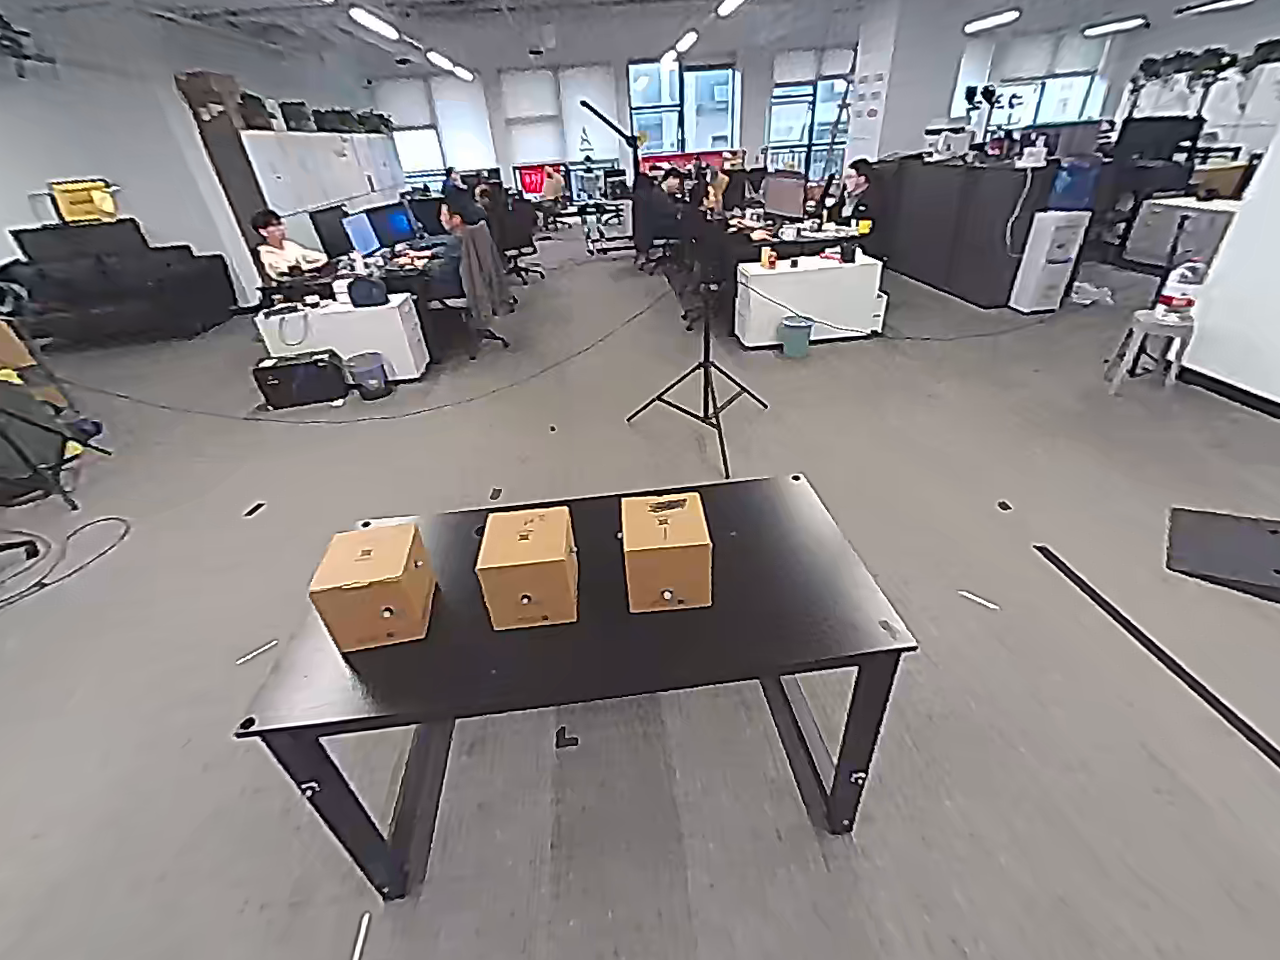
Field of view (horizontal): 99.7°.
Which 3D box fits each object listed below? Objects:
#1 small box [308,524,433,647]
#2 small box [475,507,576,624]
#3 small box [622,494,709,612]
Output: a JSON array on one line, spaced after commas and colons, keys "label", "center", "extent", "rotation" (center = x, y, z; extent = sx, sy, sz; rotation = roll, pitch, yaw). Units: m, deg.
[{"label": "small box", "center": [-0.529, 0.216, 1.091], "extent": [0.168, 0.176, 0.179], "rotation": [-8, 32, -8]}, {"label": "small box", "center": [-0.224, 0.179, 1.108], "extent": [0.168, 0.176, 0.179], "rotation": [-5, 32, -2]}, {"label": "small box", "center": [0.049, 0.149, 1.123], "extent": [0.168, 0.176, 0.179], "rotation": [-5, 33, 0]}]
